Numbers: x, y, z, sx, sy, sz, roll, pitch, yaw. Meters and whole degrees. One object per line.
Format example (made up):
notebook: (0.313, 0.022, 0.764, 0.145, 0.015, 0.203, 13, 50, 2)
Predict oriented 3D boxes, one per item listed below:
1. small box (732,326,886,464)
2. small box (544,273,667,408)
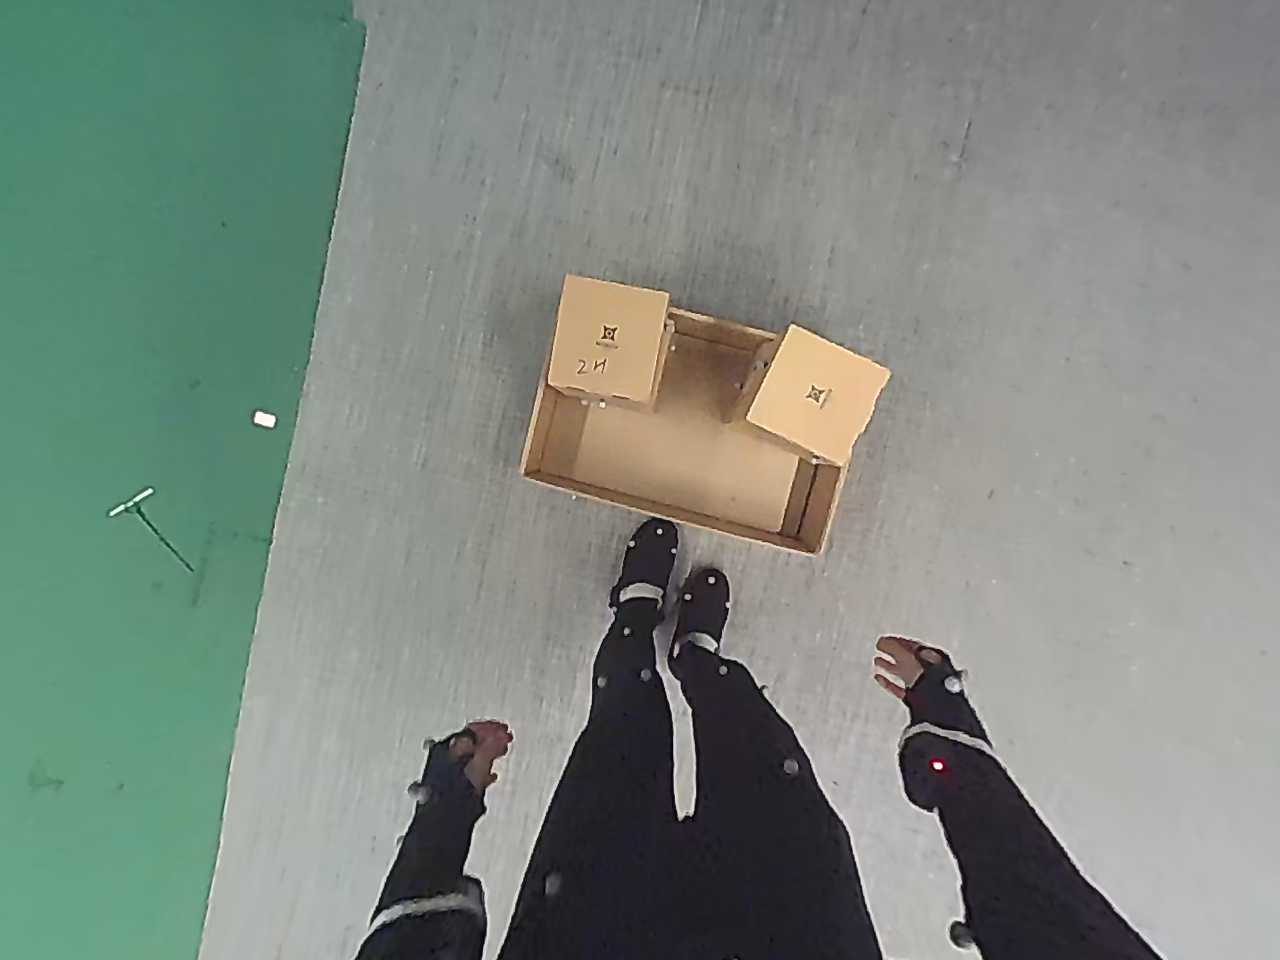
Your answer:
small box: (0.272, -0.136, 0.921, 0.179, 0.176, 0.168, 26, 95, 0)
small box: (-0.053, -0.227, 0.923, 0.168, 0.176, 0.179, 12, 95, 2)
